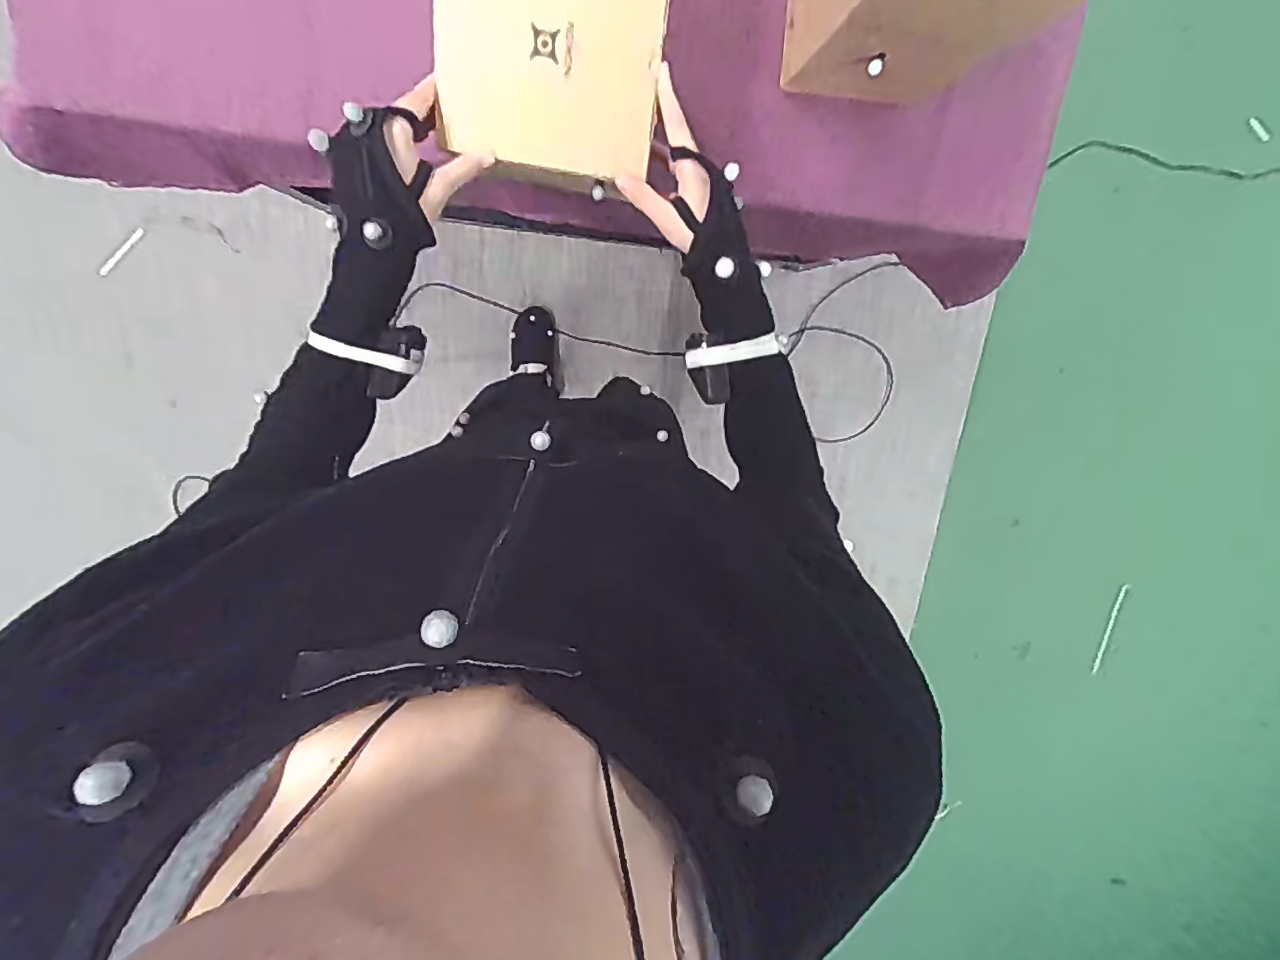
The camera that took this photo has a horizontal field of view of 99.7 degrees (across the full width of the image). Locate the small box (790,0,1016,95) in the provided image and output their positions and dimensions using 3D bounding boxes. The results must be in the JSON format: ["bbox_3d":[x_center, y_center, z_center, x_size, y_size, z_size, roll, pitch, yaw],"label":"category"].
[{"bbox_3d":[0.276,-0.539,0.573,0.179,0.176,0.168,1,106,-7],"label":"small box"}]

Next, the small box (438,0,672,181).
[{"bbox_3d":[-0.072,-0.379,0.486,0.179,0.176,0.168,5,113,-9],"label":"small box"}]
